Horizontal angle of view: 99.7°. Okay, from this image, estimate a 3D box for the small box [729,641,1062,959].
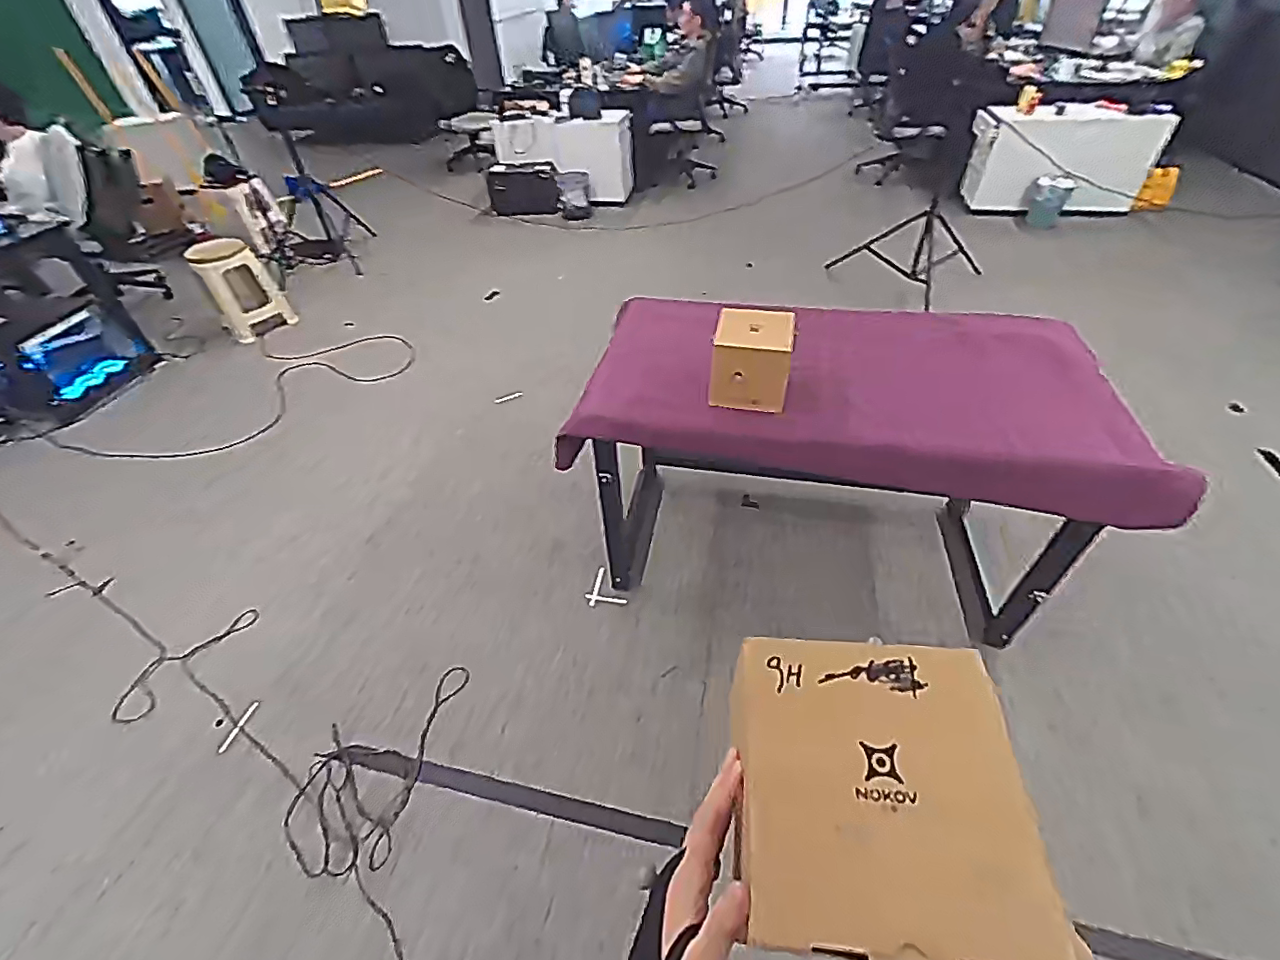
[{"bbox_3d":[0.156,0.239,0.401,0.168,0.176,0.179,2,51,7],"label":"small box"}]

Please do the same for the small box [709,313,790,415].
[{"bbox_3d":[0.254,-0.270,1.266,0.168,0.176,0.179,8,44,11],"label":"small box"}]
